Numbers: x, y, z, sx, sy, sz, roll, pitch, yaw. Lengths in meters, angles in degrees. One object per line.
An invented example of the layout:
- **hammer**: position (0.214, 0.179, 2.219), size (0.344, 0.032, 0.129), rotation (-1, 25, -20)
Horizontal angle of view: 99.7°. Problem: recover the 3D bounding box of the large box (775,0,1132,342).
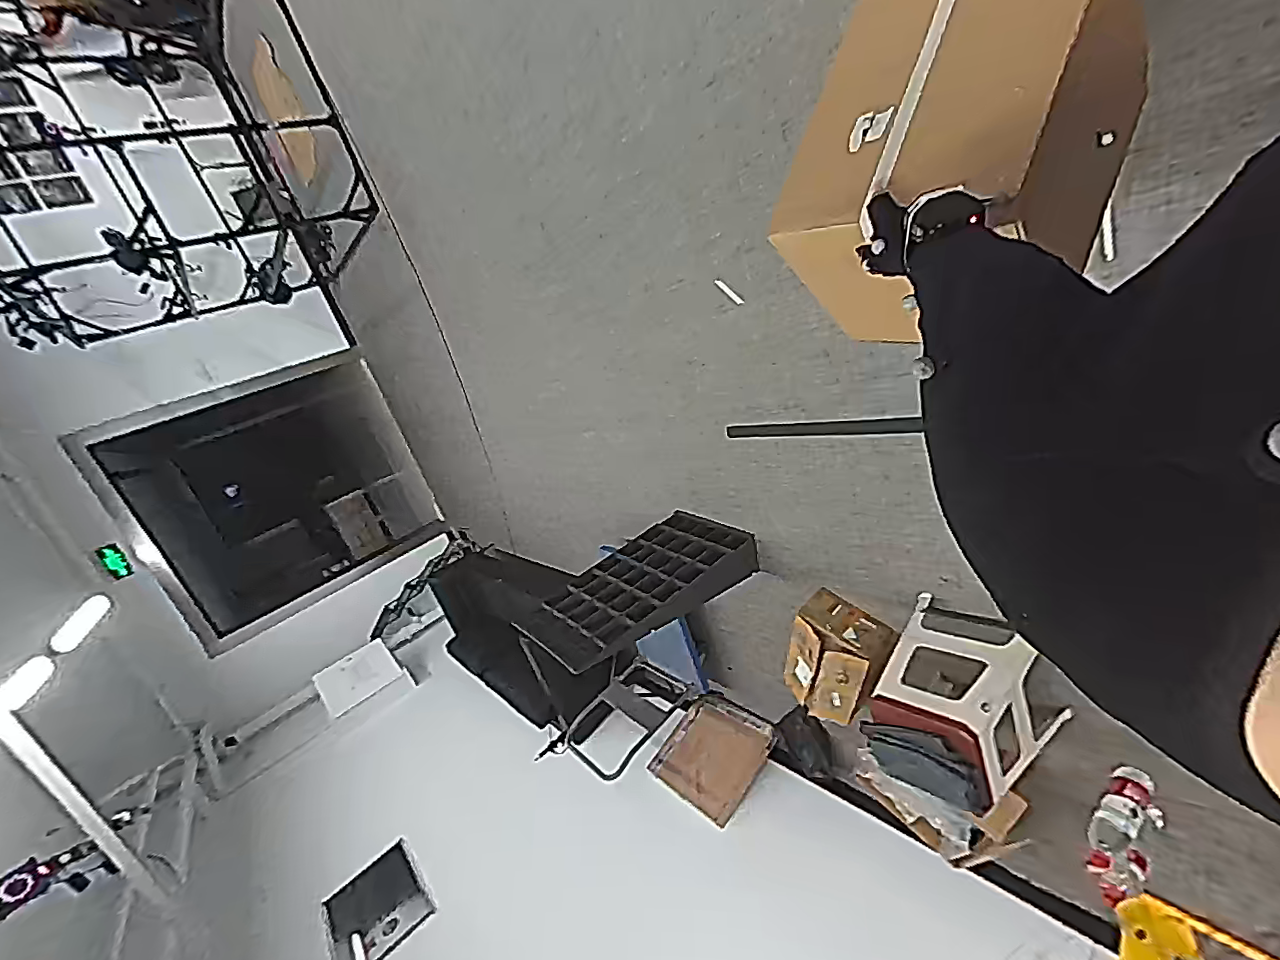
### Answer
- **large box**: position (0.460, -0.454, 0.785), size (0.320, 0.320, 0.408), rotation (17, 84, 48)
